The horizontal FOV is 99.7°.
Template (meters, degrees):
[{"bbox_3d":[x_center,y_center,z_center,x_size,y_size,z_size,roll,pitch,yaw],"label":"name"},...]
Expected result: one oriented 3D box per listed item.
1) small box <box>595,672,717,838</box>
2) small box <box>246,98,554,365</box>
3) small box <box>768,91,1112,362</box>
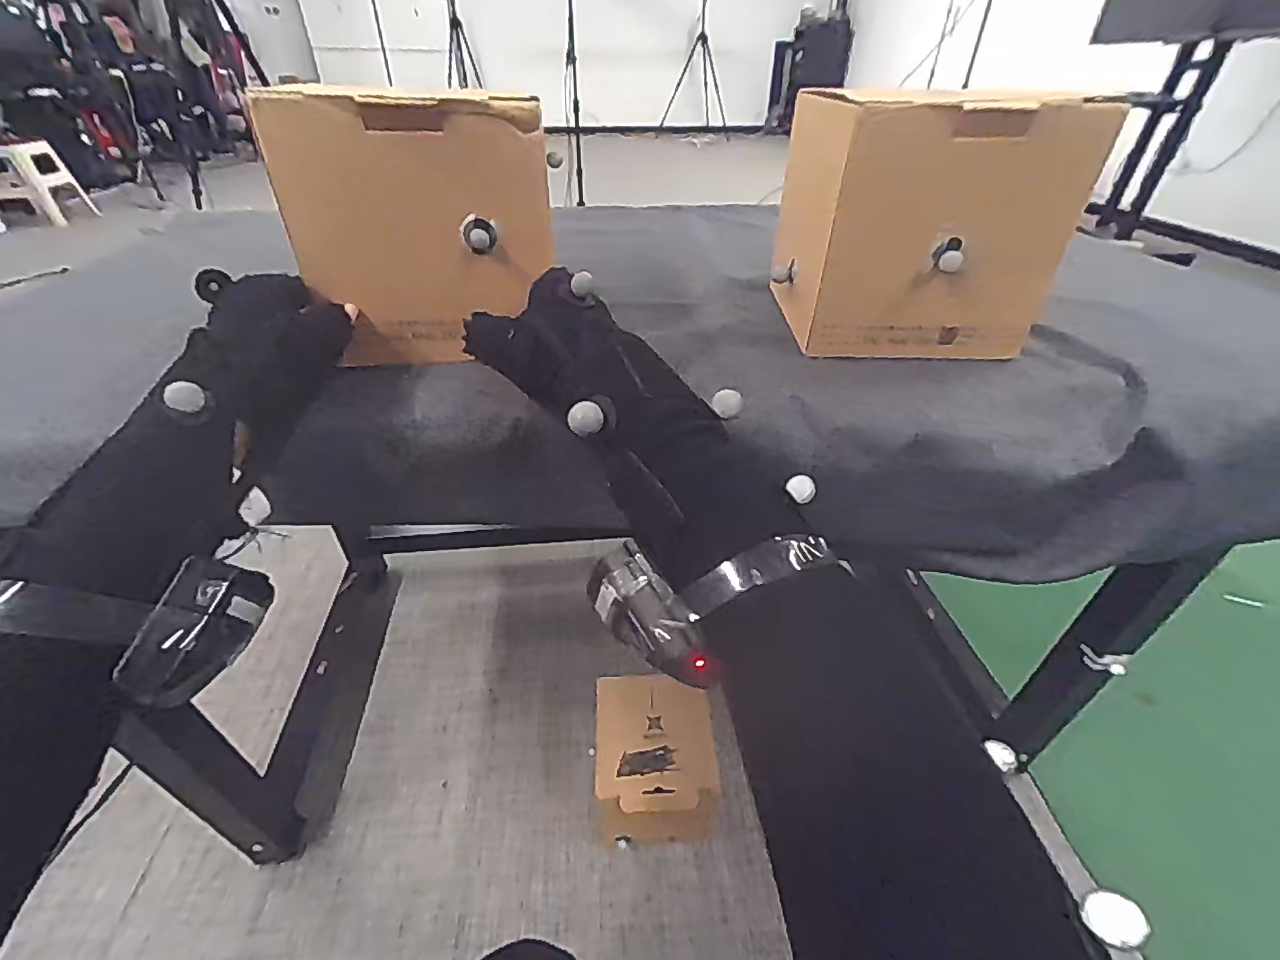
[{"bbox_3d":[0.021,0.419,0.820,0.168,0.176,0.179,-2,37,-2],"label":"small box"},{"bbox_3d":[-0.159,-0.198,0.429,0.168,0.176,0.179,-5,36,-9],"label":"small box"},{"bbox_3d":[0.208,-0.207,0.441,0.168,0.176,0.179,1,38,1],"label":"small box"}]
